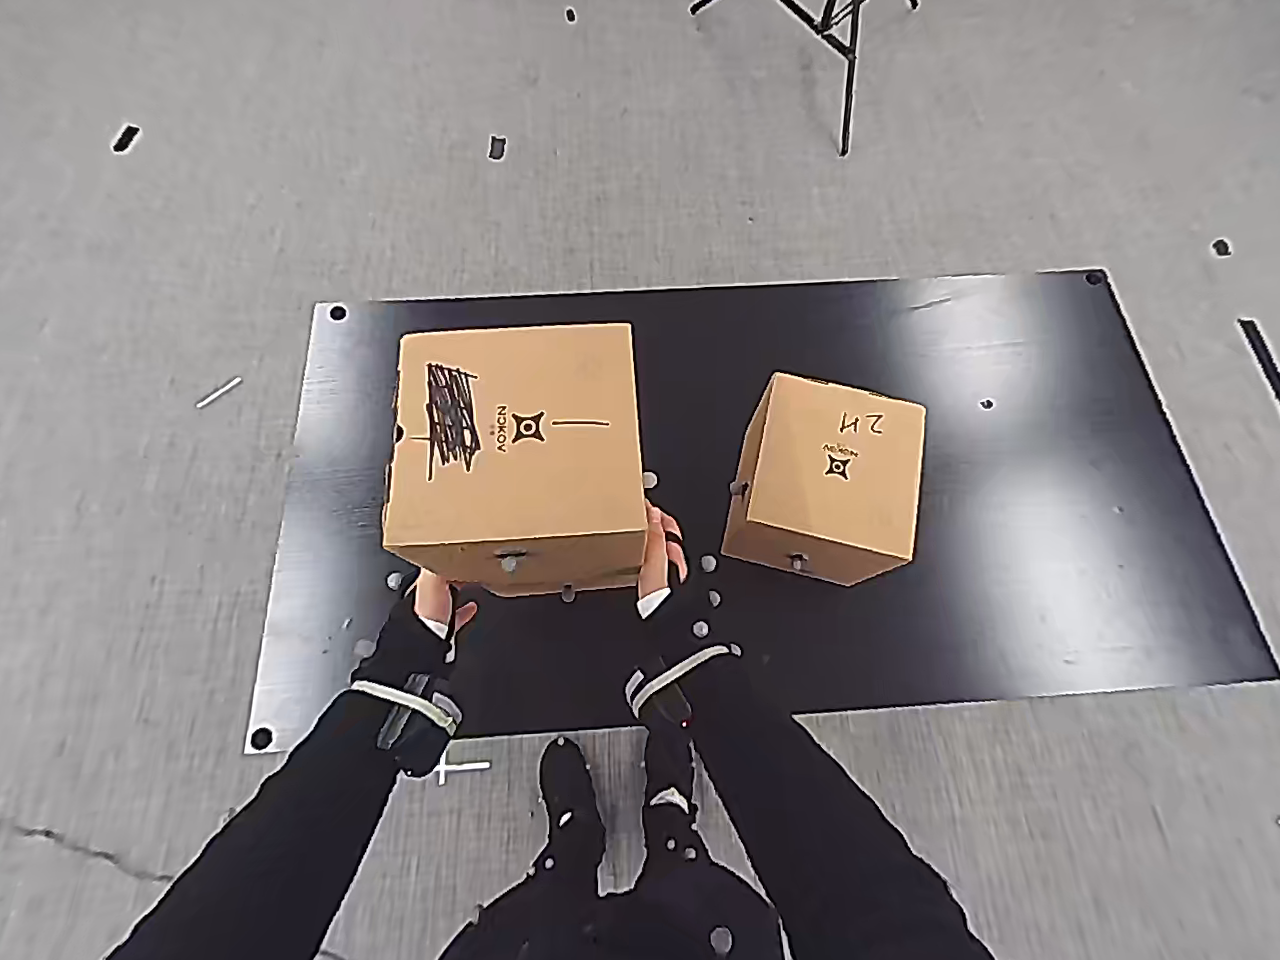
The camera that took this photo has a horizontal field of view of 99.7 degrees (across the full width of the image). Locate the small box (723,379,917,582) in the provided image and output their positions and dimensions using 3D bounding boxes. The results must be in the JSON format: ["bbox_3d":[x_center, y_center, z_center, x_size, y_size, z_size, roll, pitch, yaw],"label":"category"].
[{"bbox_3d":[0.201,0.011,0.642,0.168,0.176,0.179,14,70,4],"label":"small box"}]

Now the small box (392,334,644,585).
[{"bbox_3d":[-0.088,-0.006,0.470,0.179,0.176,0.168,-4,71,-3],"label":"small box"}]

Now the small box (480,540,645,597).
[{"bbox_3d":[-0.092,0.038,0.630,0.179,0.176,0.168,-4,70,-3],"label":"small box"}]
